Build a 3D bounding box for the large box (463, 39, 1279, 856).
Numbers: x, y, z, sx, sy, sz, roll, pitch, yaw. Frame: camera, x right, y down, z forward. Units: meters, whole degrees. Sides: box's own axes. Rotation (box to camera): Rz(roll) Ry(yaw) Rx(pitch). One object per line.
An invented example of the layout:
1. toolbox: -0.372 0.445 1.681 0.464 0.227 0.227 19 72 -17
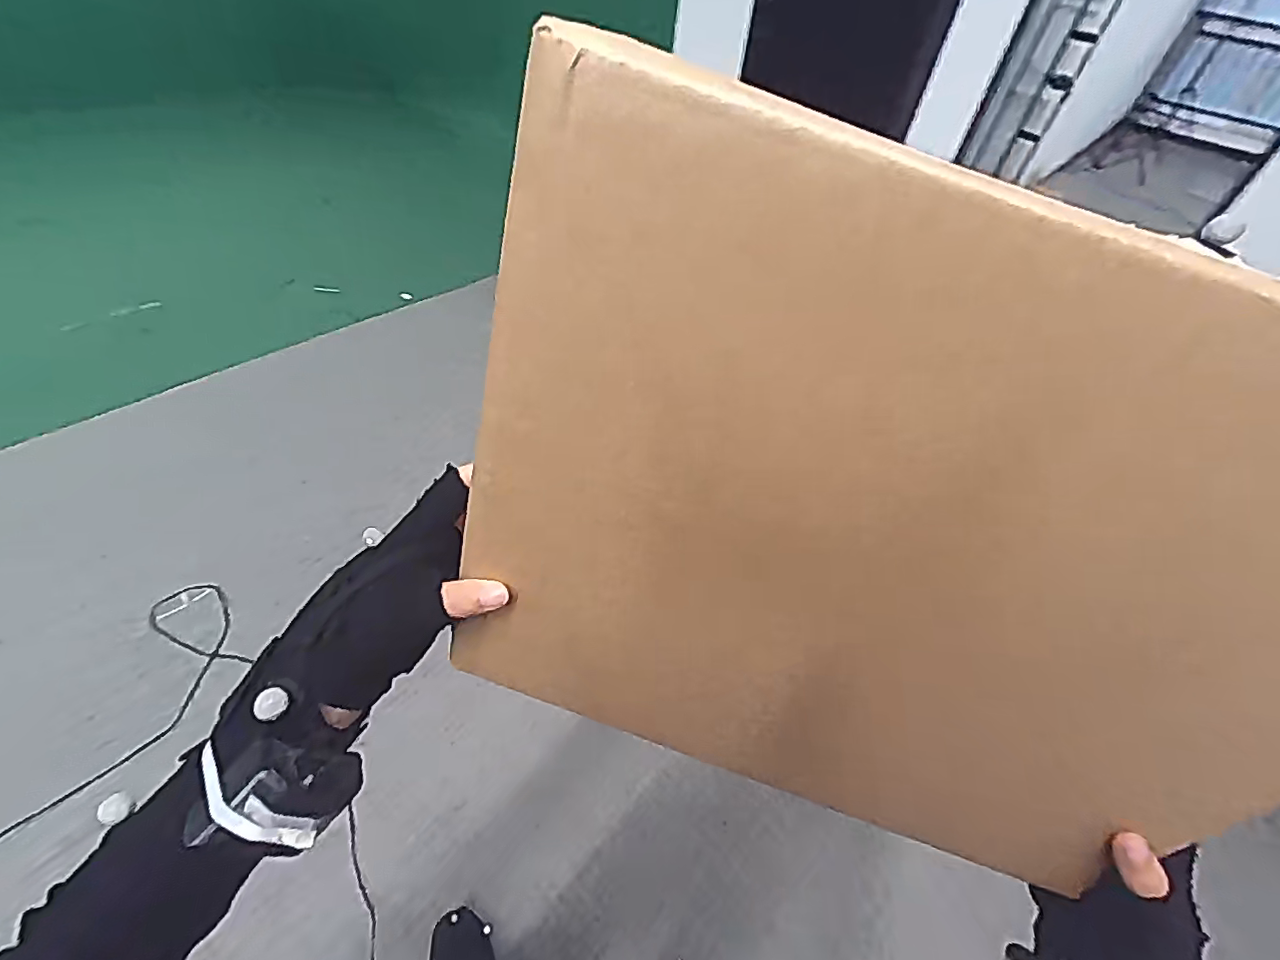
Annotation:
1. large box: 0.145 -0.023 0.370 0.408 0.320 0.320 21 35 -2
